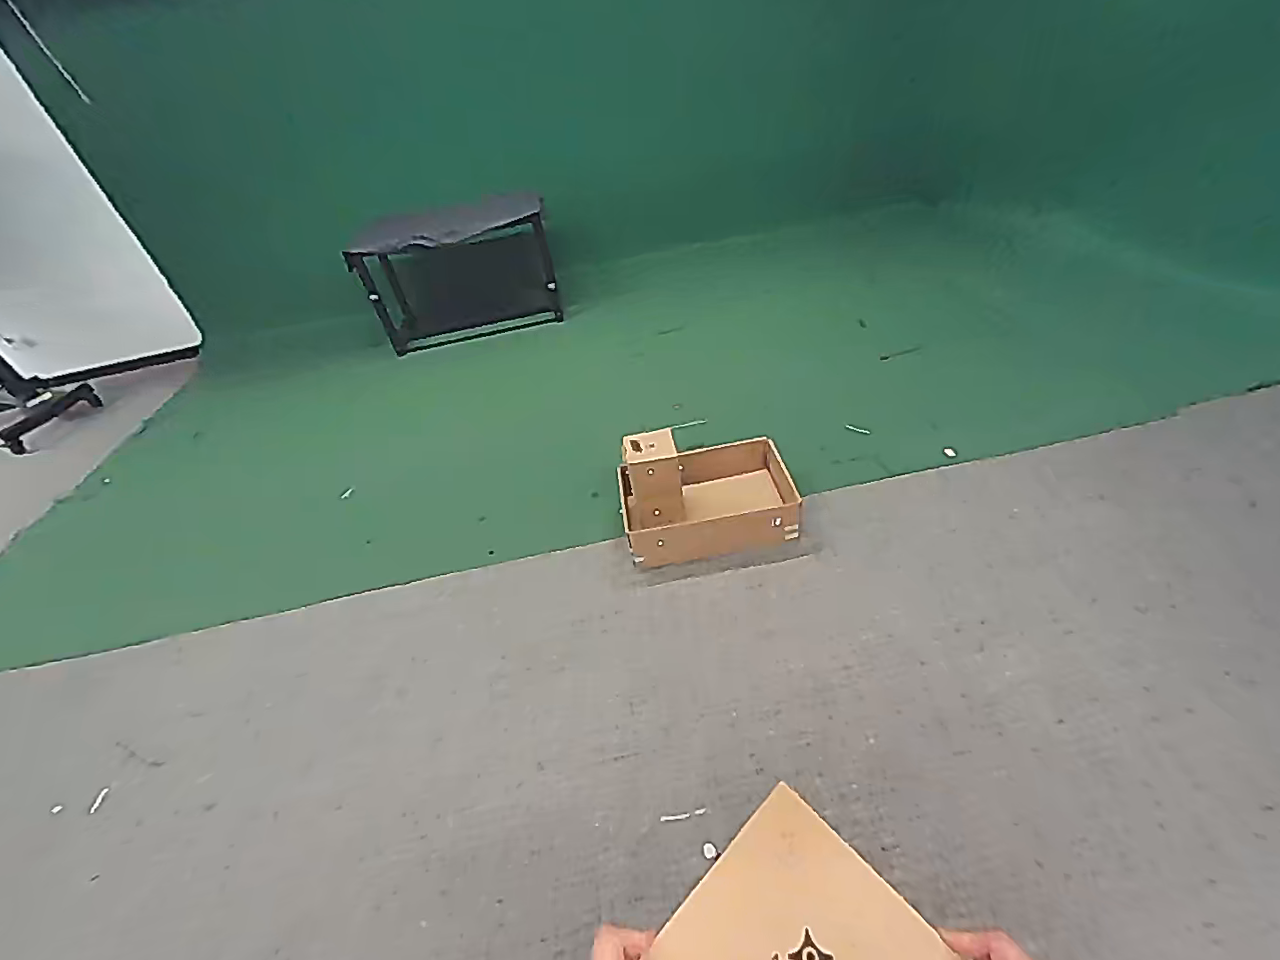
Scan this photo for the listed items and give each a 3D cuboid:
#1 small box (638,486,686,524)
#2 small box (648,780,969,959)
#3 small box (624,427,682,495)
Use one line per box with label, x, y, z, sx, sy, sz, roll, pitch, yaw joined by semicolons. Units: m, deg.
small box;0.076;0.052;2.045;0.168;0.176;0.179;-11;41;0
small box;0.120;0.396;0.445;0.179;0.176;0.168;-36;55;-27
small box;0.048;-0.064;1.930;0.179;0.176;0.168;-10;41;0
